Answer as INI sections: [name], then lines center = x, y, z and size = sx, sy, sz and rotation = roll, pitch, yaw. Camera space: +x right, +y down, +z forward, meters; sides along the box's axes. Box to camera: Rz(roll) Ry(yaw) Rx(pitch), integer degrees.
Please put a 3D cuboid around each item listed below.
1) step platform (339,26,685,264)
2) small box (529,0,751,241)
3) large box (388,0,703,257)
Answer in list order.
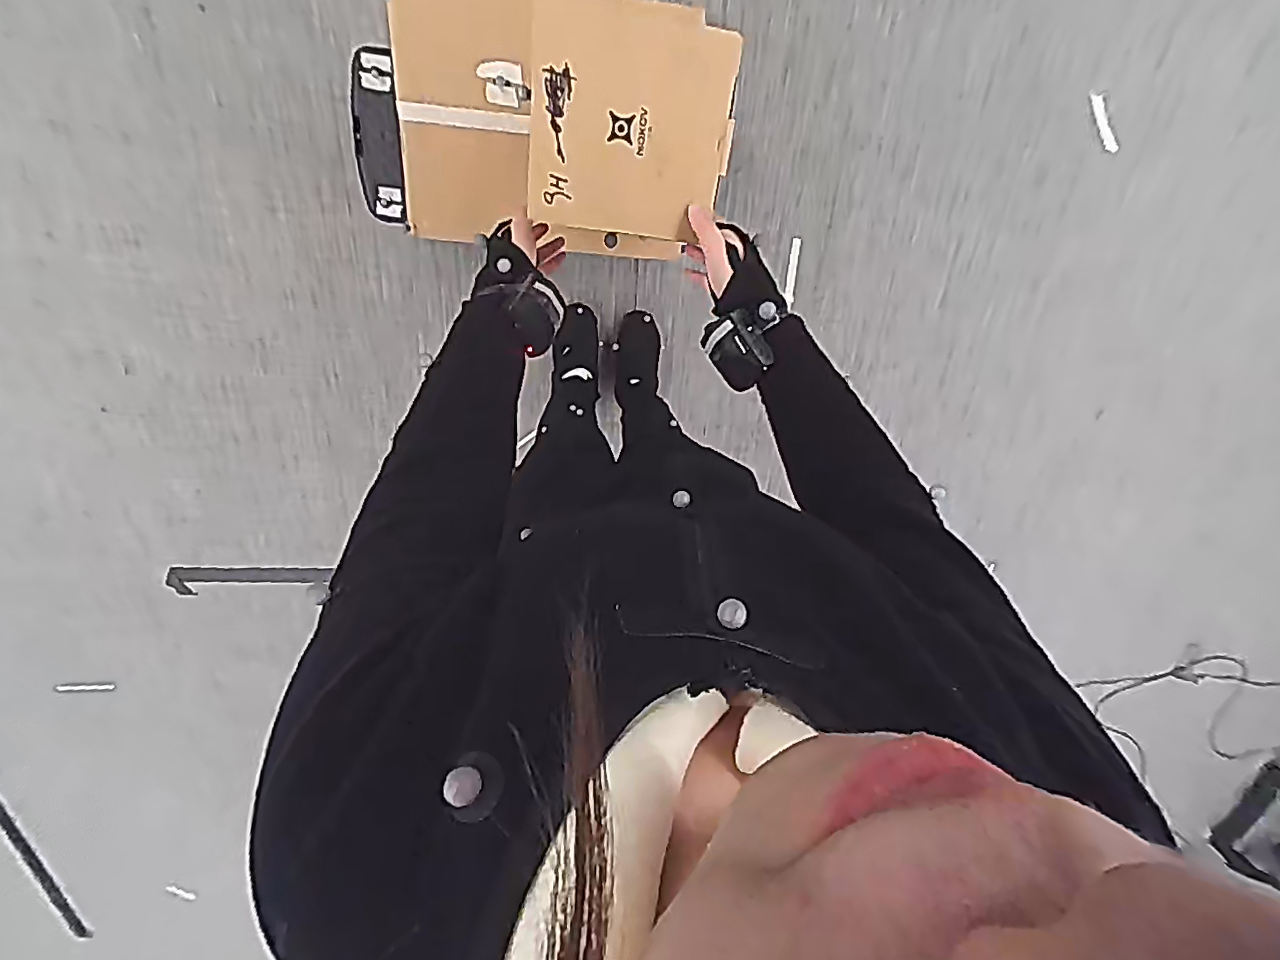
[step platform]
center = -0.216, -0.641, 1.085
size = 0.684, 0.204, 0.286
rotation = 7, 115, -10
[small box]
center = -0.014, -0.341, 0.534
size = 0.179, 0.176, 0.168
rotation = 4, 115, -10
[large box]
center = -0.135, -0.551, 0.873
size = 0.408, 0.320, 0.320
rotation = 2, 115, -7
